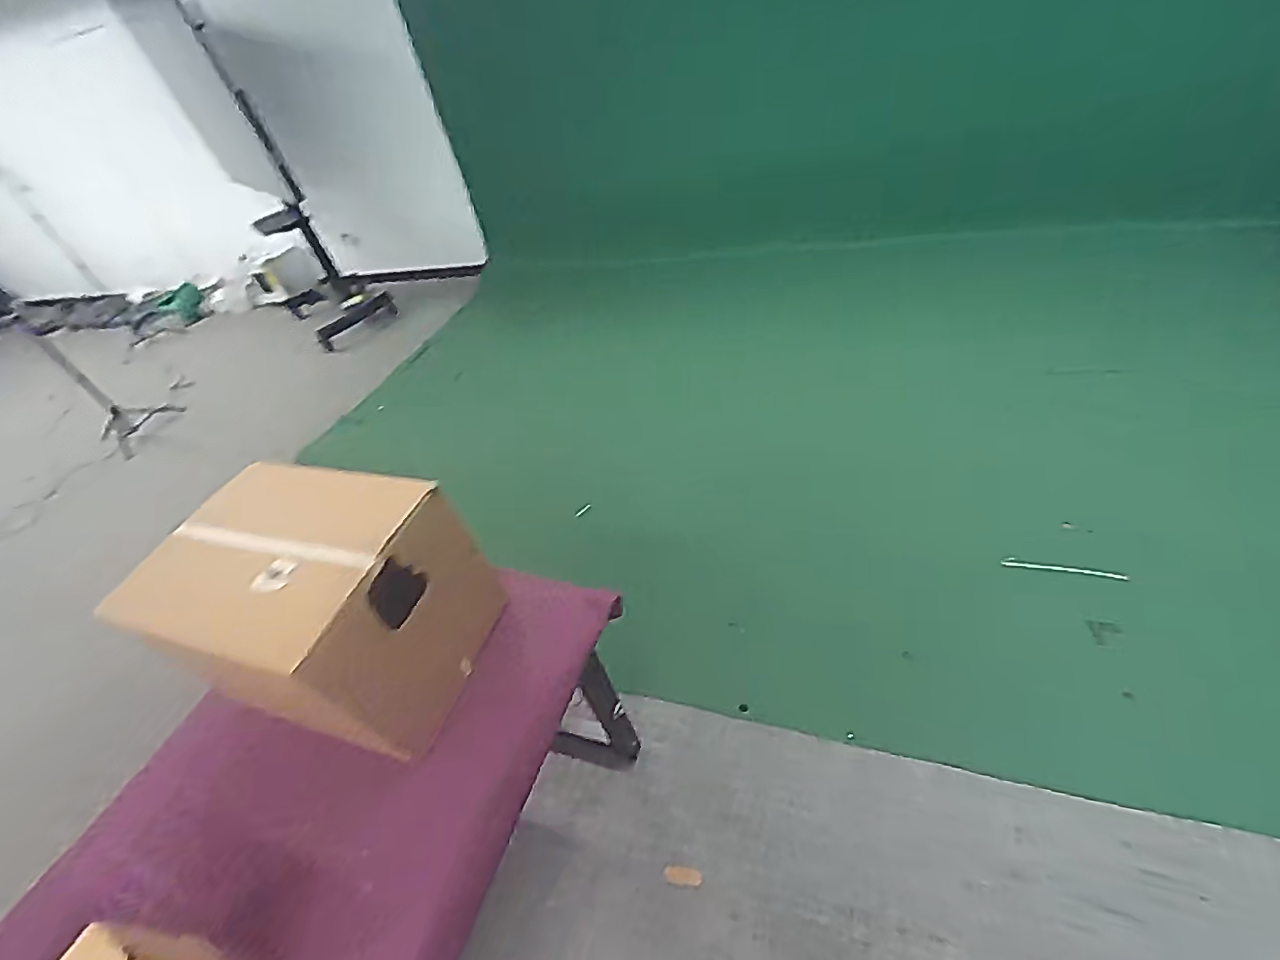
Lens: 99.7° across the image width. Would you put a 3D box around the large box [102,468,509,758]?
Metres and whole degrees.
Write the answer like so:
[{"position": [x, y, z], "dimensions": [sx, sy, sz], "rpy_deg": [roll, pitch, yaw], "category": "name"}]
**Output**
[{"position": [-0.500, 0.206, 0.890], "dimensions": [0.408, 0.320, 0.320], "rpy_deg": [5, 48, 20], "category": "large box"}]
